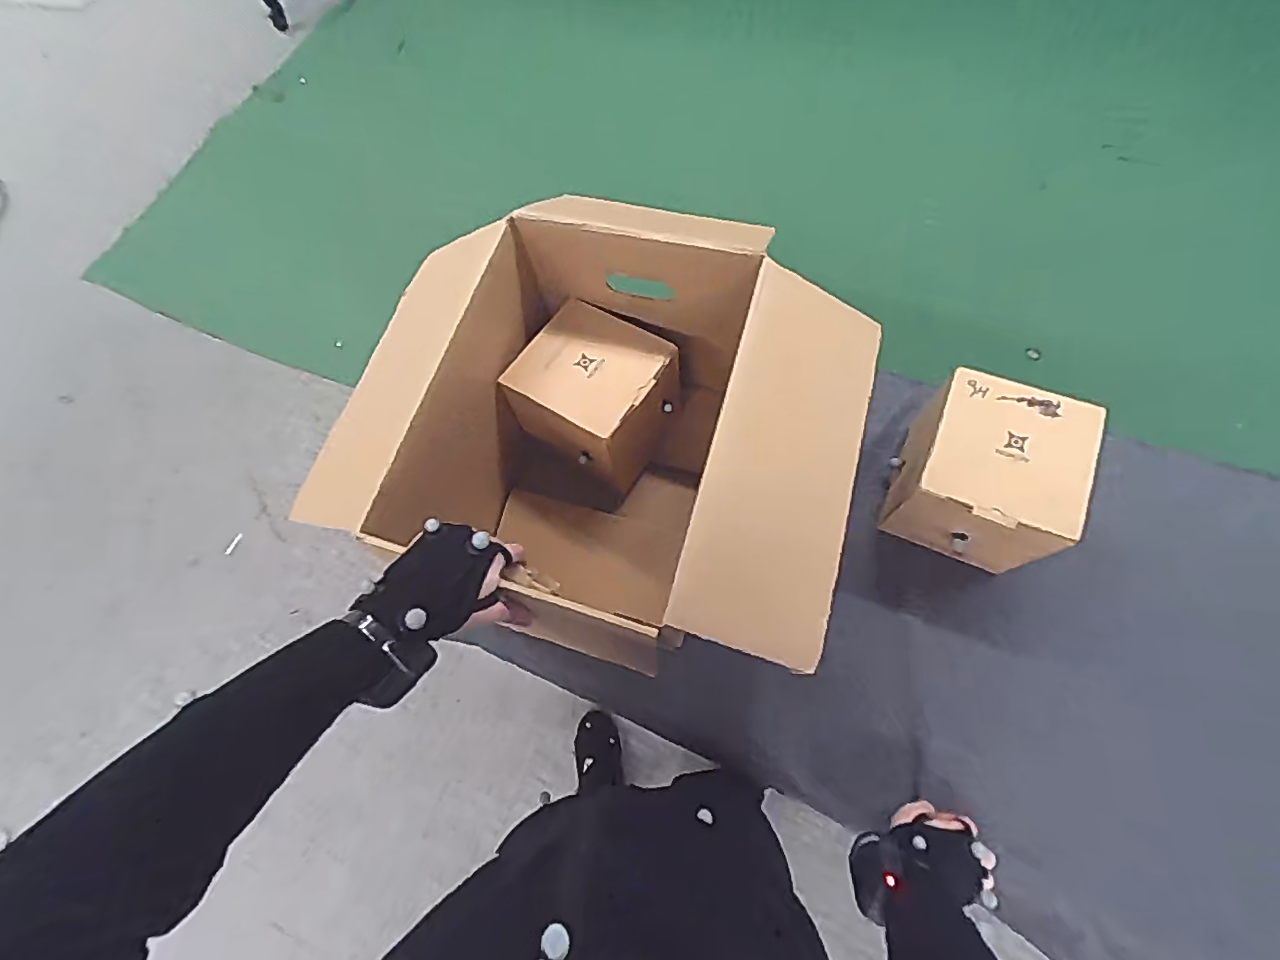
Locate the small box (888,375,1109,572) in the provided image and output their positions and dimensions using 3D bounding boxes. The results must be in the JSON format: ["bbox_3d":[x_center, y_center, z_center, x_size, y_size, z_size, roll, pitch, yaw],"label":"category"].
[{"bbox_3d":[0.442,0.002,0.696,0.168,0.176,0.179,22,74,14],"label":"small box"}]
